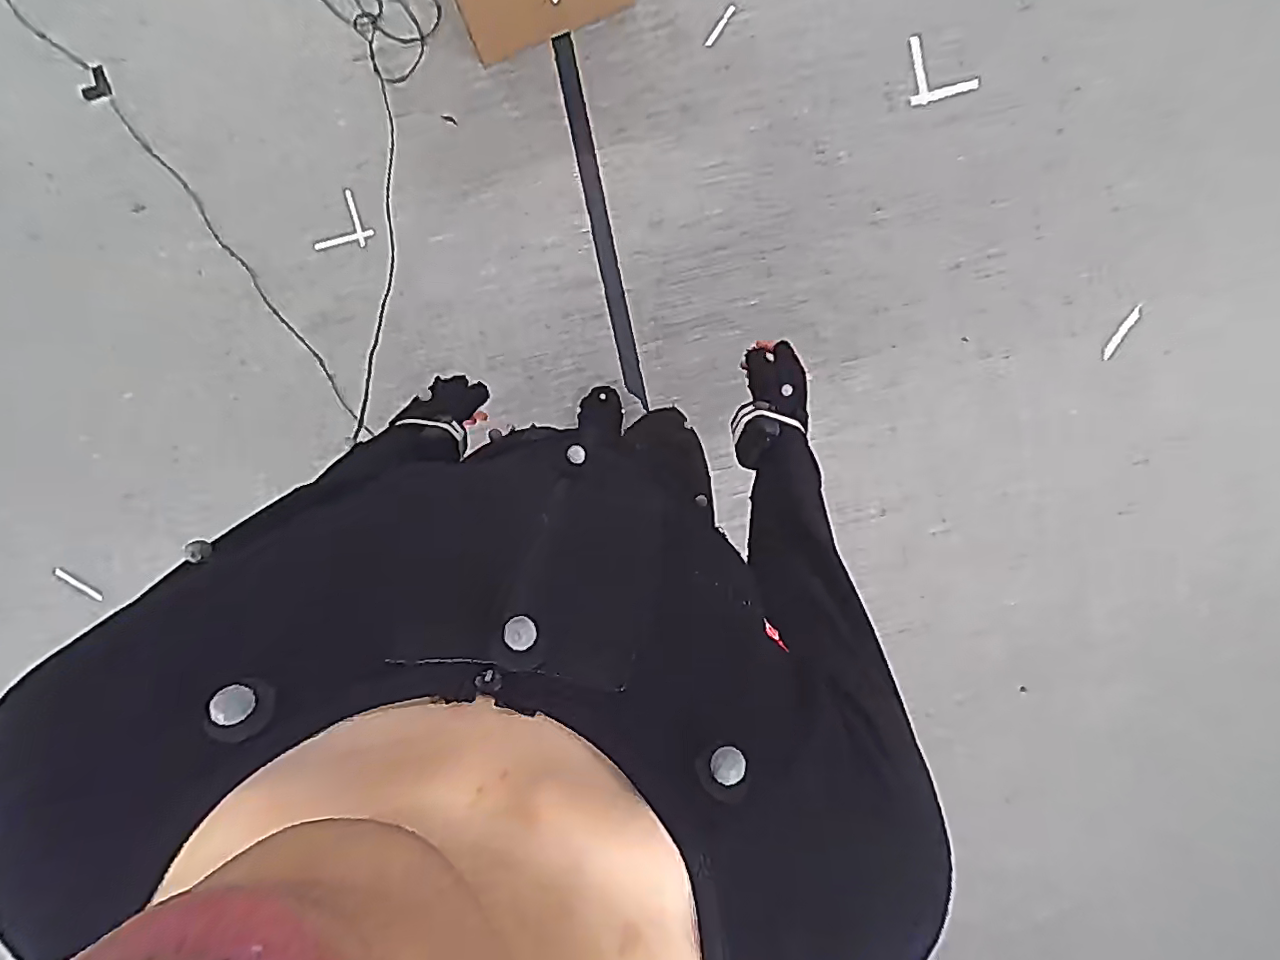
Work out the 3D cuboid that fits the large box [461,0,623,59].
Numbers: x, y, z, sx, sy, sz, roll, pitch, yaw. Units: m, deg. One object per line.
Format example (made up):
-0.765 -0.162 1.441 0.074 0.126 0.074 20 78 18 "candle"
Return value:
-0.242 -1.215 1.150 0.408 0.320 0.320 -22 99 2 "large box"
